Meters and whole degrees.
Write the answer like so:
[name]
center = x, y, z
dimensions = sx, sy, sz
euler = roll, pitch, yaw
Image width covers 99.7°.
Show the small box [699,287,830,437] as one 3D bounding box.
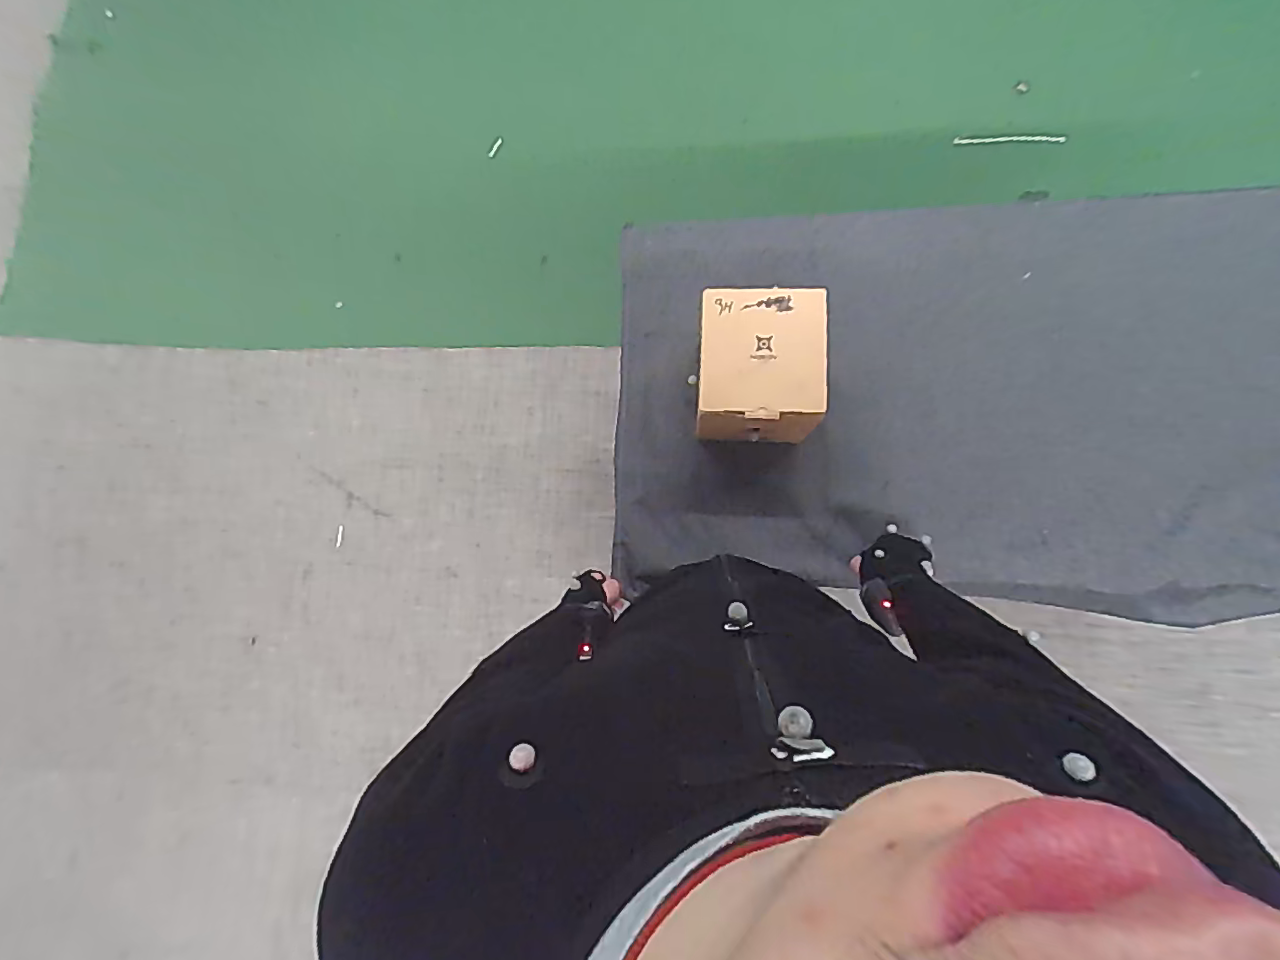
[small box]
center = 0.173, -0.163, 0.795
dimensions = 0.168, 0.176, 0.179
euler = 2, 83, 5
